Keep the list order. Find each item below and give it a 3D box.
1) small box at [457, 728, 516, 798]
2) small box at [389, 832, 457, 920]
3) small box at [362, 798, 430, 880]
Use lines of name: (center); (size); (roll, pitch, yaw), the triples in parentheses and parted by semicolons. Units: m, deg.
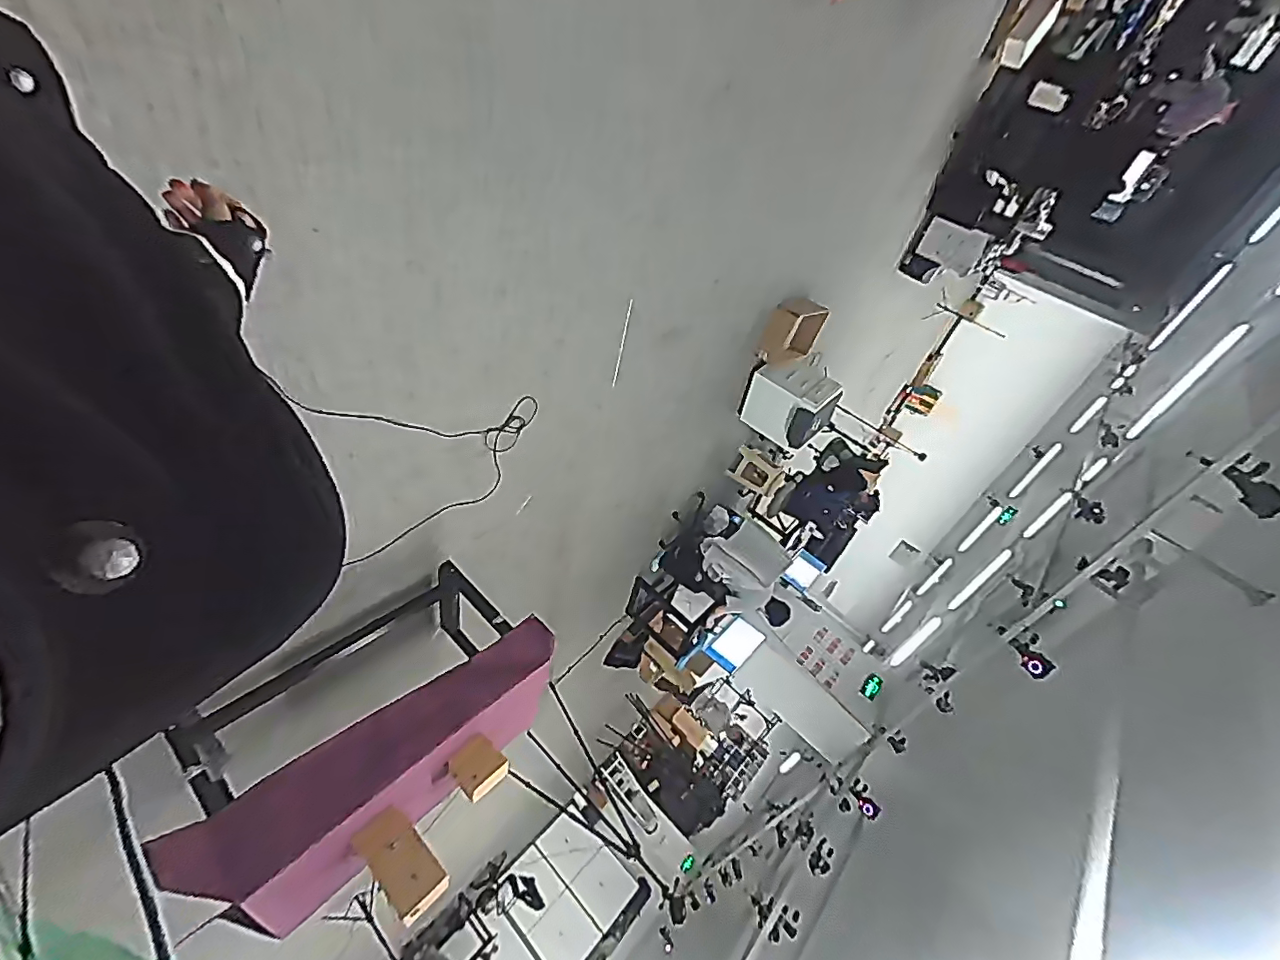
small box: (-0.646, 1.183, 2.270); (0.179, 0.176, 0.168); (-31, 149, -38)
small box: (-0.786, 1.427, 1.951); (0.179, 0.176, 0.168); (-32, 149, -40)
small box: (-0.904, 1.332, 2.016); (0.179, 0.176, 0.168); (-30, 148, -40)
